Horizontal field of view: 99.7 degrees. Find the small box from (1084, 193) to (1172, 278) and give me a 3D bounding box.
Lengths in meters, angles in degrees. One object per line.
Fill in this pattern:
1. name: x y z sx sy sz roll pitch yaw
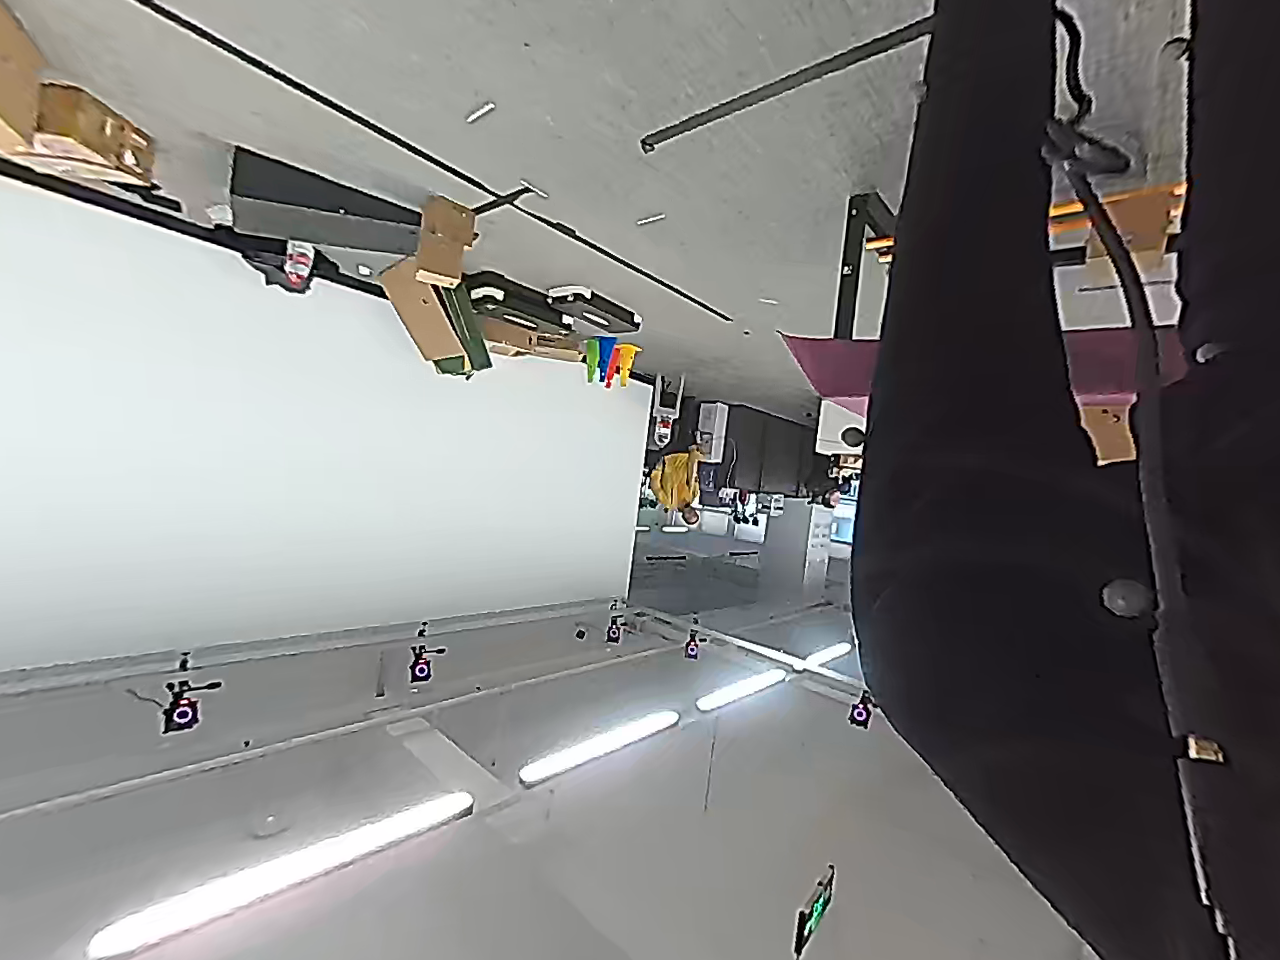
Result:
1. small box: 1.476 -0.736 1.639 0.179 0.176 0.168 8 -179 43
